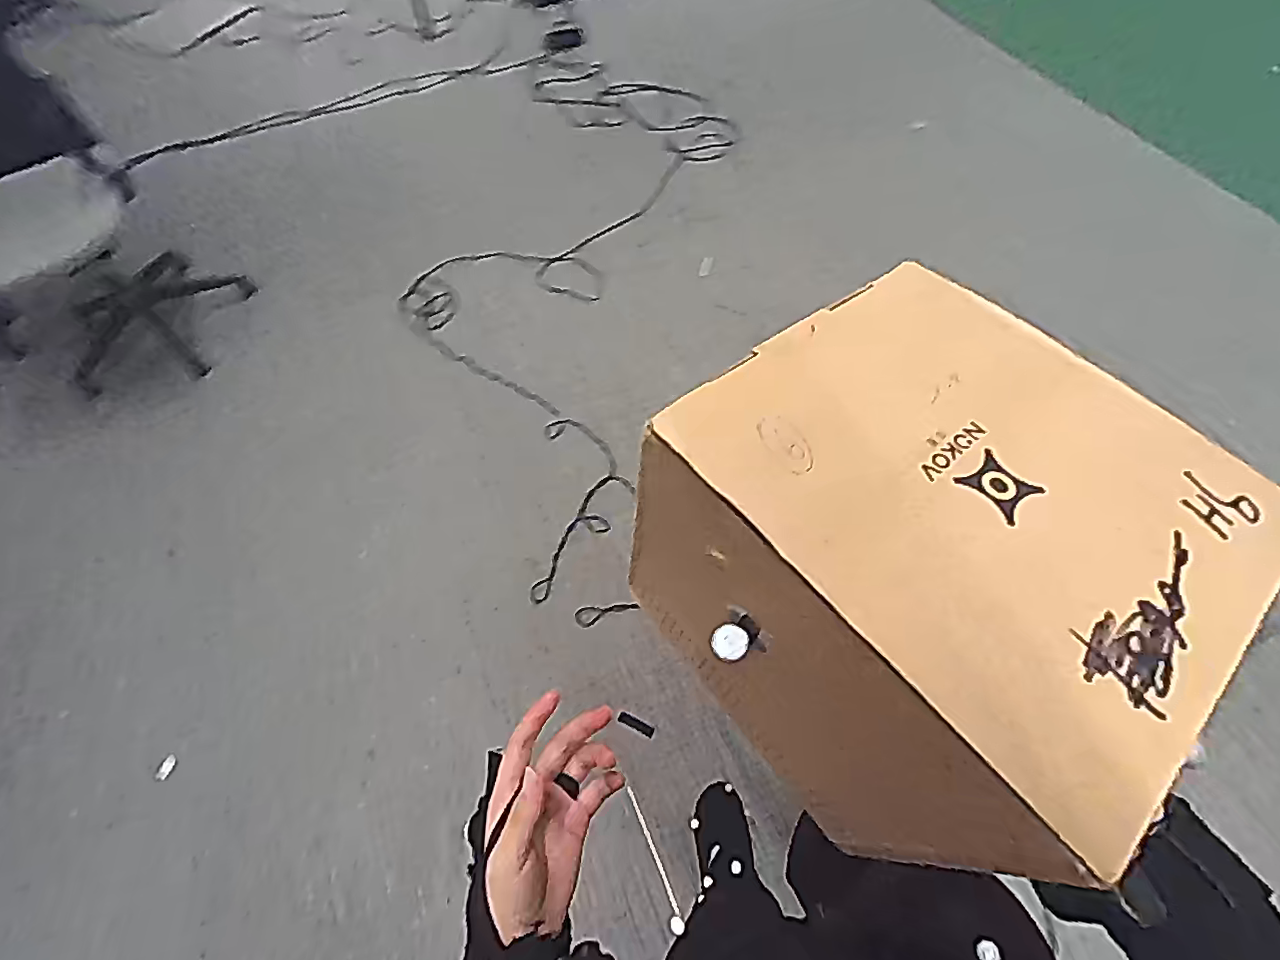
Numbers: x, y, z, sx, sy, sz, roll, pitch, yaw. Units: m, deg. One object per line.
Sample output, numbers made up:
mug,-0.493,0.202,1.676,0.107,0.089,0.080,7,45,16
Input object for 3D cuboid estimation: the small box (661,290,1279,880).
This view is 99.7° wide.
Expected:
small box,0.125,0.049,0.263,0.168,0.176,0.179,-33,65,-21
